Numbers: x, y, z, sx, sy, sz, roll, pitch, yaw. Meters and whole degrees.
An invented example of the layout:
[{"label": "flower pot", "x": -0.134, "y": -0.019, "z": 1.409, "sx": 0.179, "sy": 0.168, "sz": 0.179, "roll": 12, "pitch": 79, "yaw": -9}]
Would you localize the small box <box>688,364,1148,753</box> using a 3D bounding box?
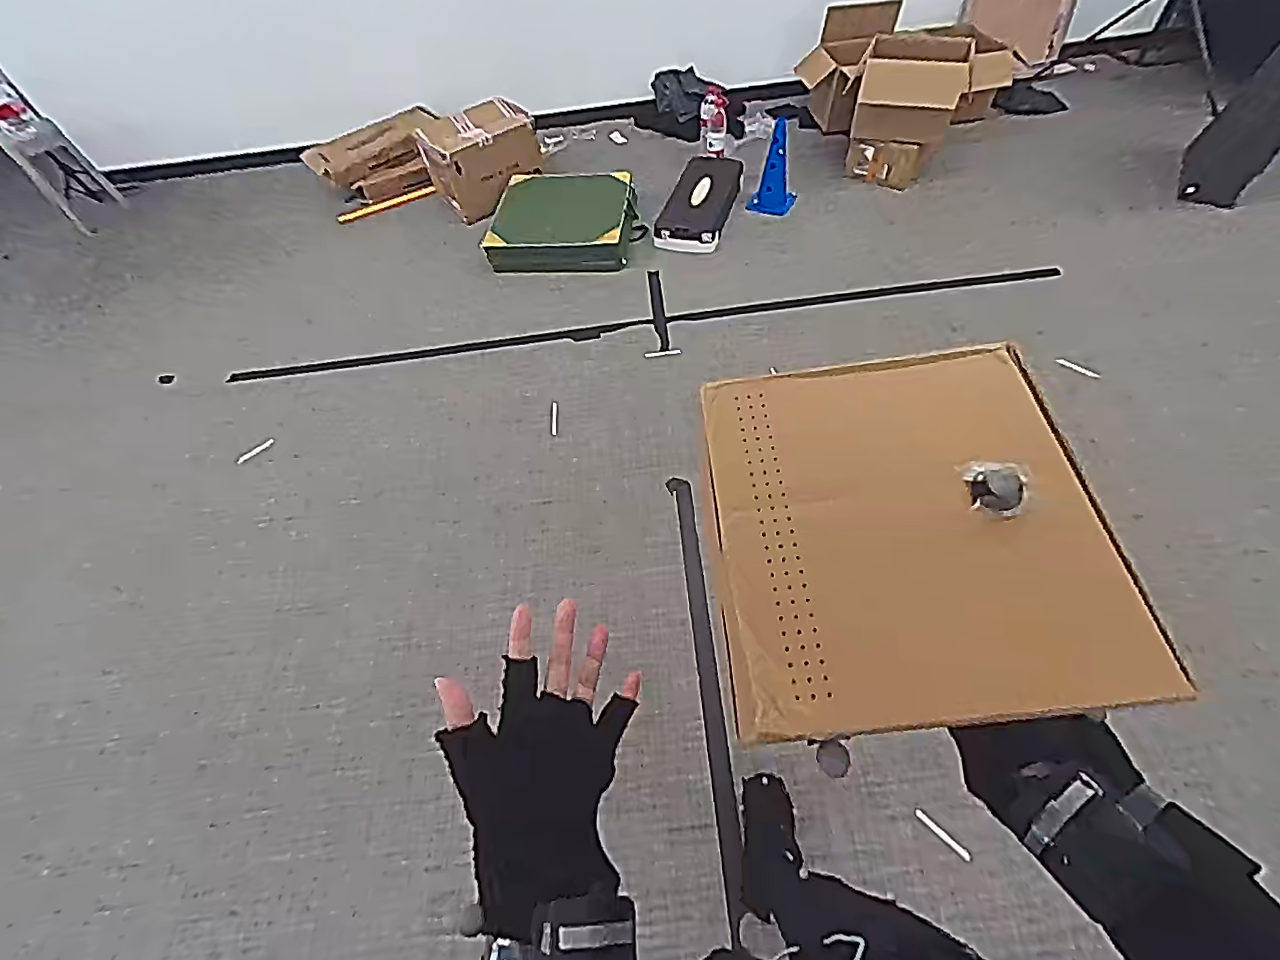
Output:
[{"label": "small box", "x": 0.124, "y": 0.058, "z": 0.329, "sx": 0.176, "sy": 0.168, "sz": 0.179, "roll": -8, "pitch": 62, "yaw": 5}]
